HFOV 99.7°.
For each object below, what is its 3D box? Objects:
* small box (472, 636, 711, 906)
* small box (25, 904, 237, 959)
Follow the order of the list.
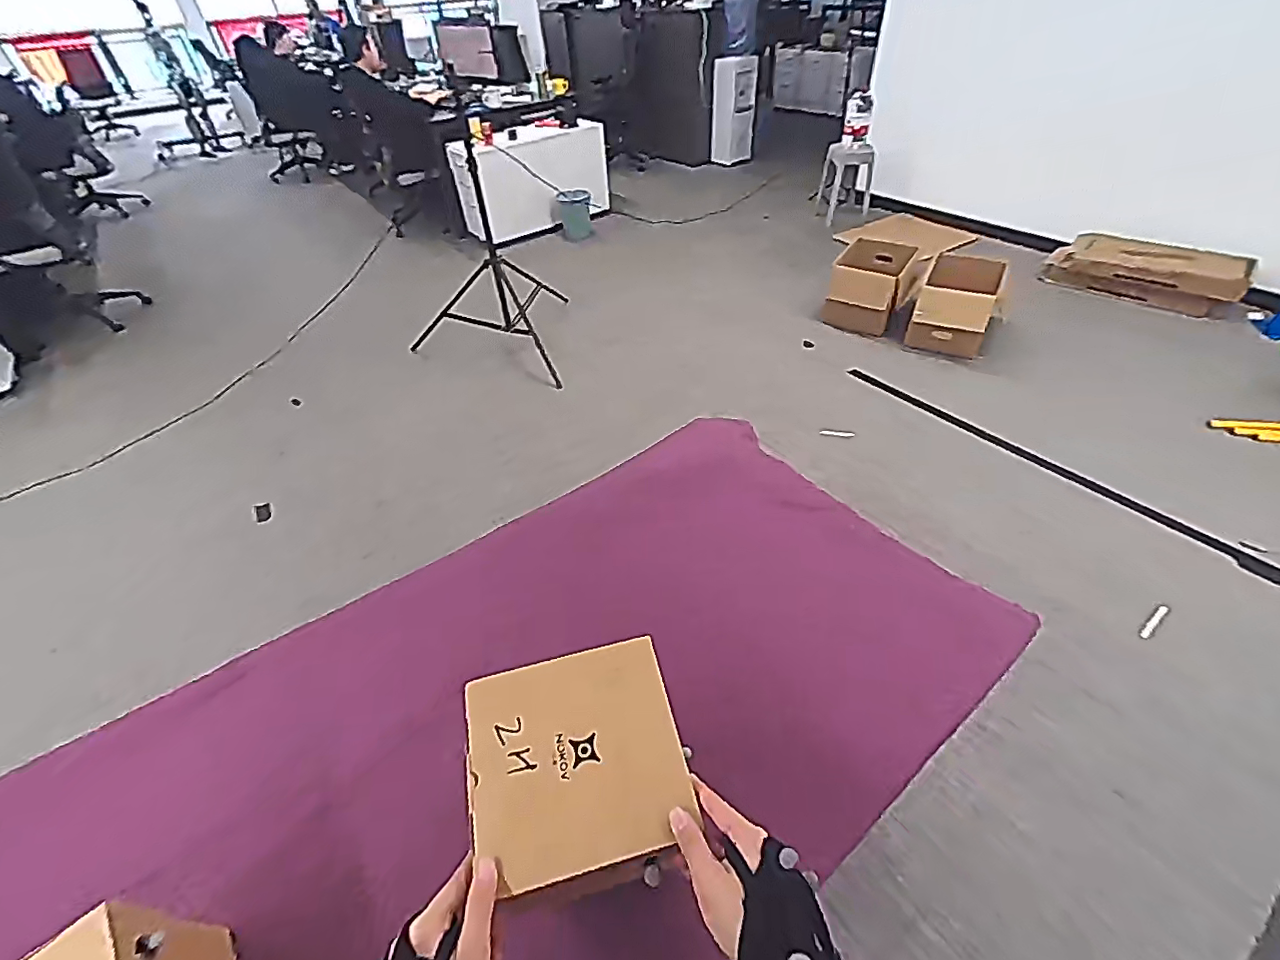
[{"bbox_3d":[-0.046,0.273,0.507,0.179,0.176,0.168,-13,50,-7],"label":"small box"},{"bbox_3d":[-0.410,0.467,0.394,0.168,0.176,0.179,-35,51,-29],"label":"small box"}]
